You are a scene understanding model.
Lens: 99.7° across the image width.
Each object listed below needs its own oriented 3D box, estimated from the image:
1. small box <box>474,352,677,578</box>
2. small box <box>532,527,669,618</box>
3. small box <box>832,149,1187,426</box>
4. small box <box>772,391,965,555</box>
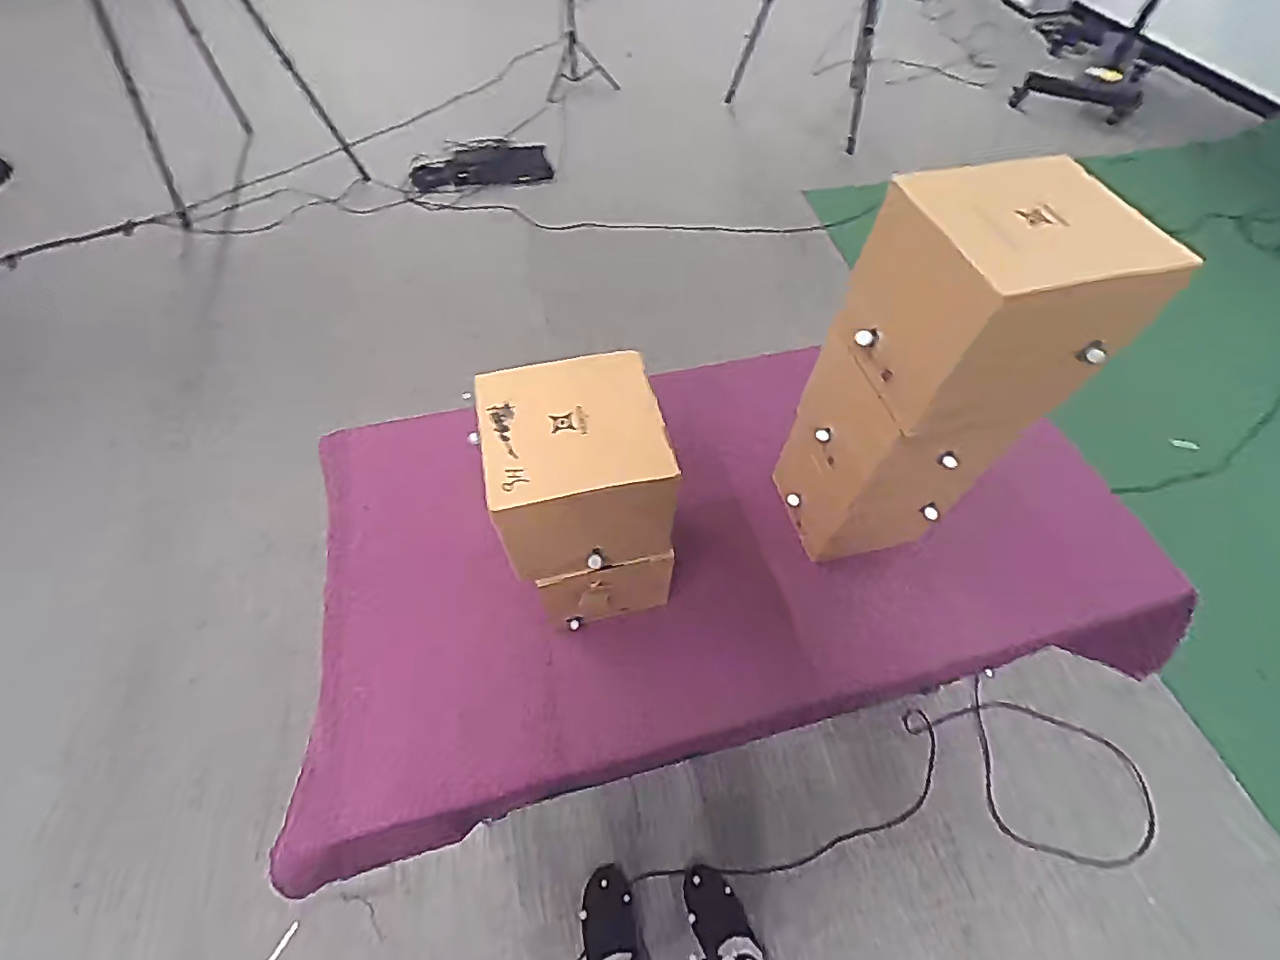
[{"bbox_3d":[-0.071,-0.011,0.589,0.179,0.176,0.168,-11,58,-9],"label":"small box"},{"bbox_3d":[-0.064,0.073,0.731,0.168,0.176,0.179,-12,58,-9],"label":"small box"},{"bbox_3d":[0.312,-0.173,0.504,0.179,0.176,0.168,-12,58,-8],"label":"small box"},{"bbox_3d":[0.316,-0.010,0.790,0.179,0.176,0.168,-11,58,-8],"label":"small box"}]
